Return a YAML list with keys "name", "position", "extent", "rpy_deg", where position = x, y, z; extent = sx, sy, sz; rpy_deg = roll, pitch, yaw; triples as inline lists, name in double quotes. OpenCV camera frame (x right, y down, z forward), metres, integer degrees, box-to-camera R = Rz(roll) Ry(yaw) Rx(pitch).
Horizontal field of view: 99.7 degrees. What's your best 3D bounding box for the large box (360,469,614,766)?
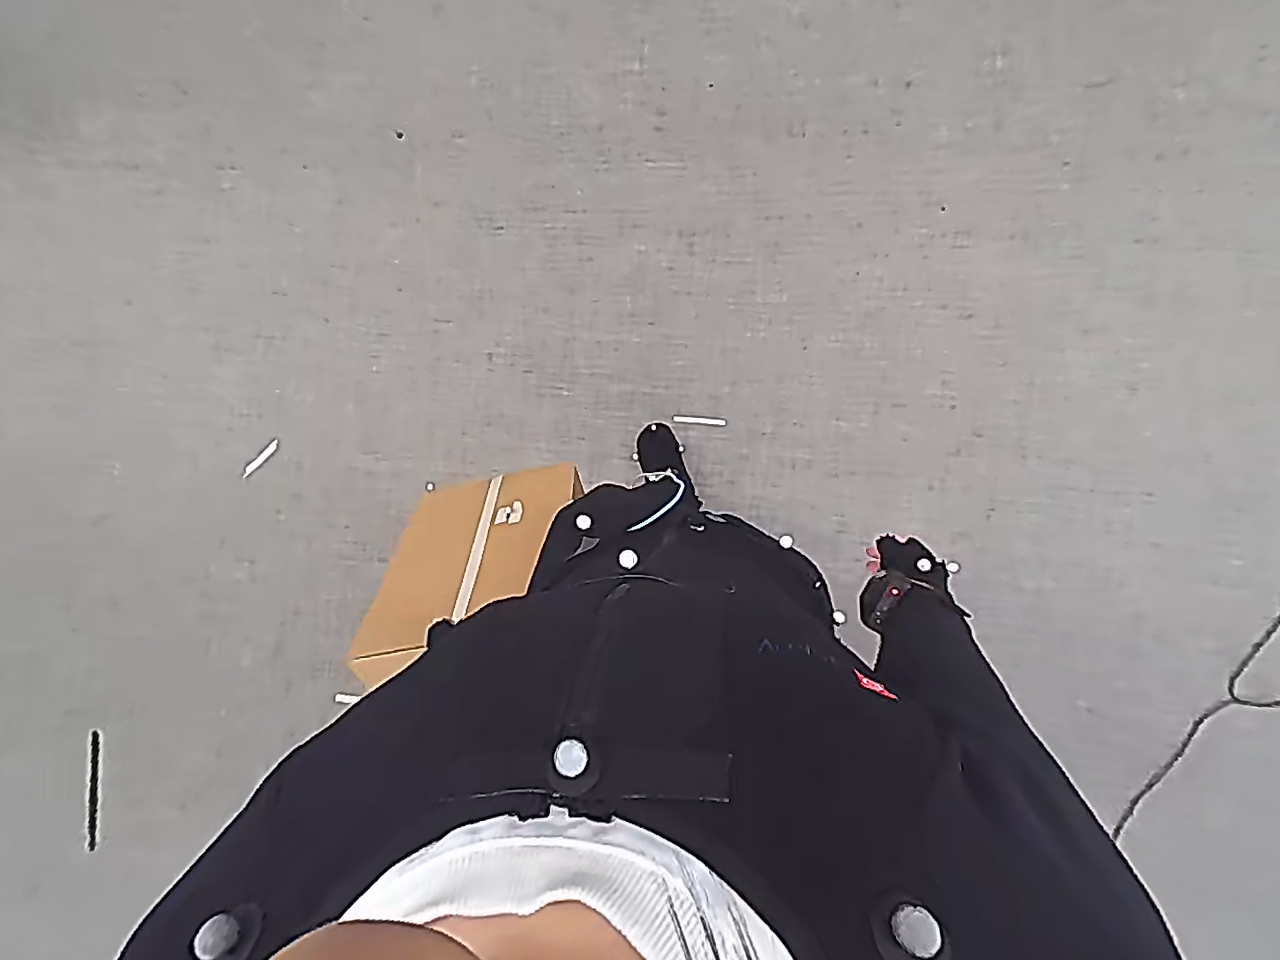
- name: "large box"
  position: [-0.234, 0.237, 1.000]
  extent: [0.320, 0.408, 0.320]
  rpy_deg: [-11, 123, 4]
